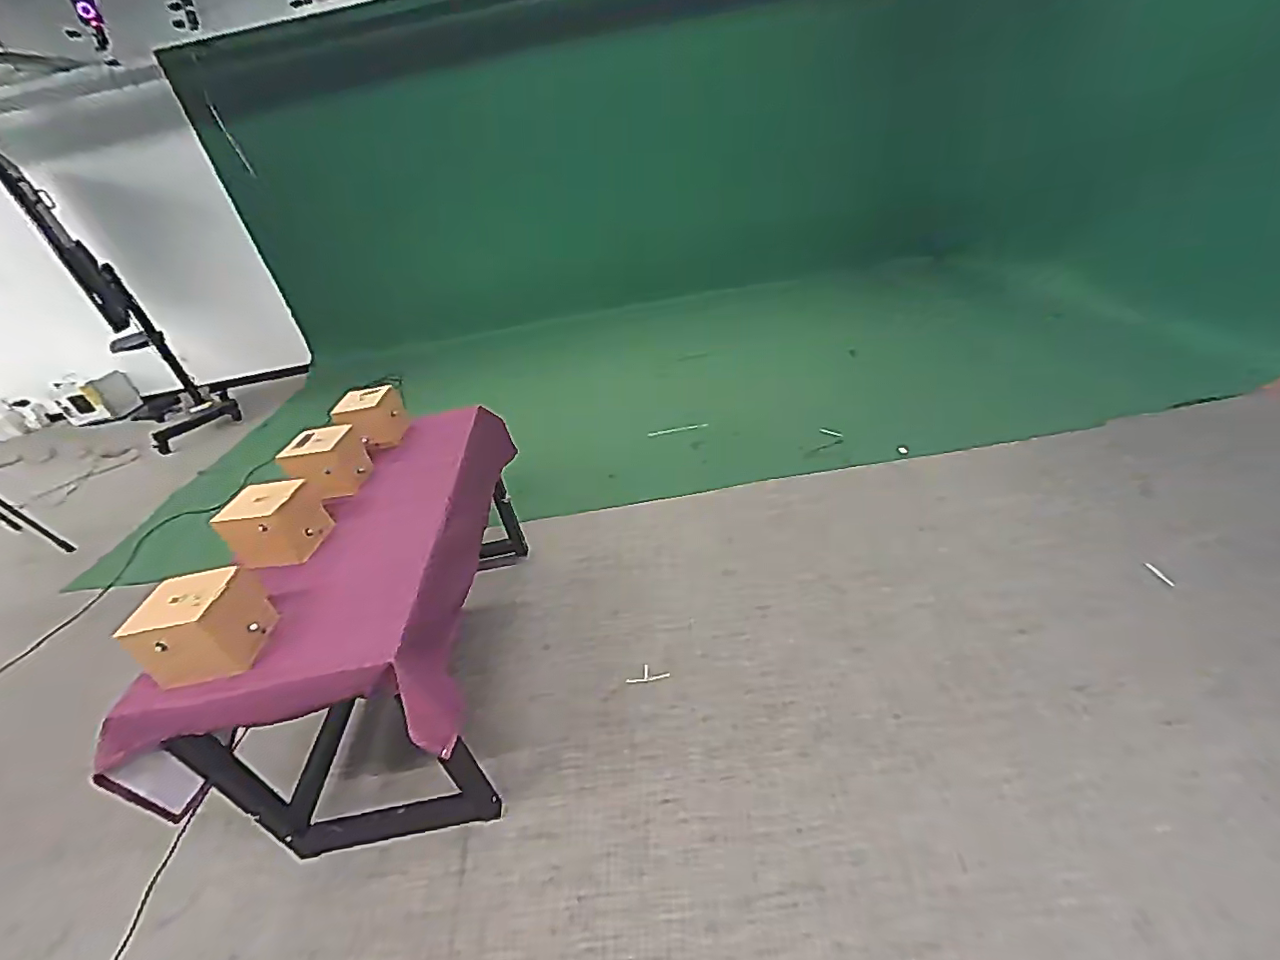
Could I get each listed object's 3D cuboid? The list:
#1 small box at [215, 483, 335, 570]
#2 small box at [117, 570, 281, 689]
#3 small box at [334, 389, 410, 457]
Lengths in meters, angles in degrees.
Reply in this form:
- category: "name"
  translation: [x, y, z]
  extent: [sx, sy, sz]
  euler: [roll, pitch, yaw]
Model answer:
- category: "small box"
  translation: [-0.982, 0.130, 1.470]
  extent: [0.179, 0.176, 0.168]
  euler: [-7, 34, 6]
- category: "small box"
  translation: [-0.930, 0.323, 1.161]
  extent: [0.179, 0.176, 0.168]
  euler: [-11, 33, 1]
- category: "small box"
  translation: [-0.960, -0.205, 1.956]
  extent: [0.168, 0.176, 0.179]
  euler: [-10, 35, 3]
